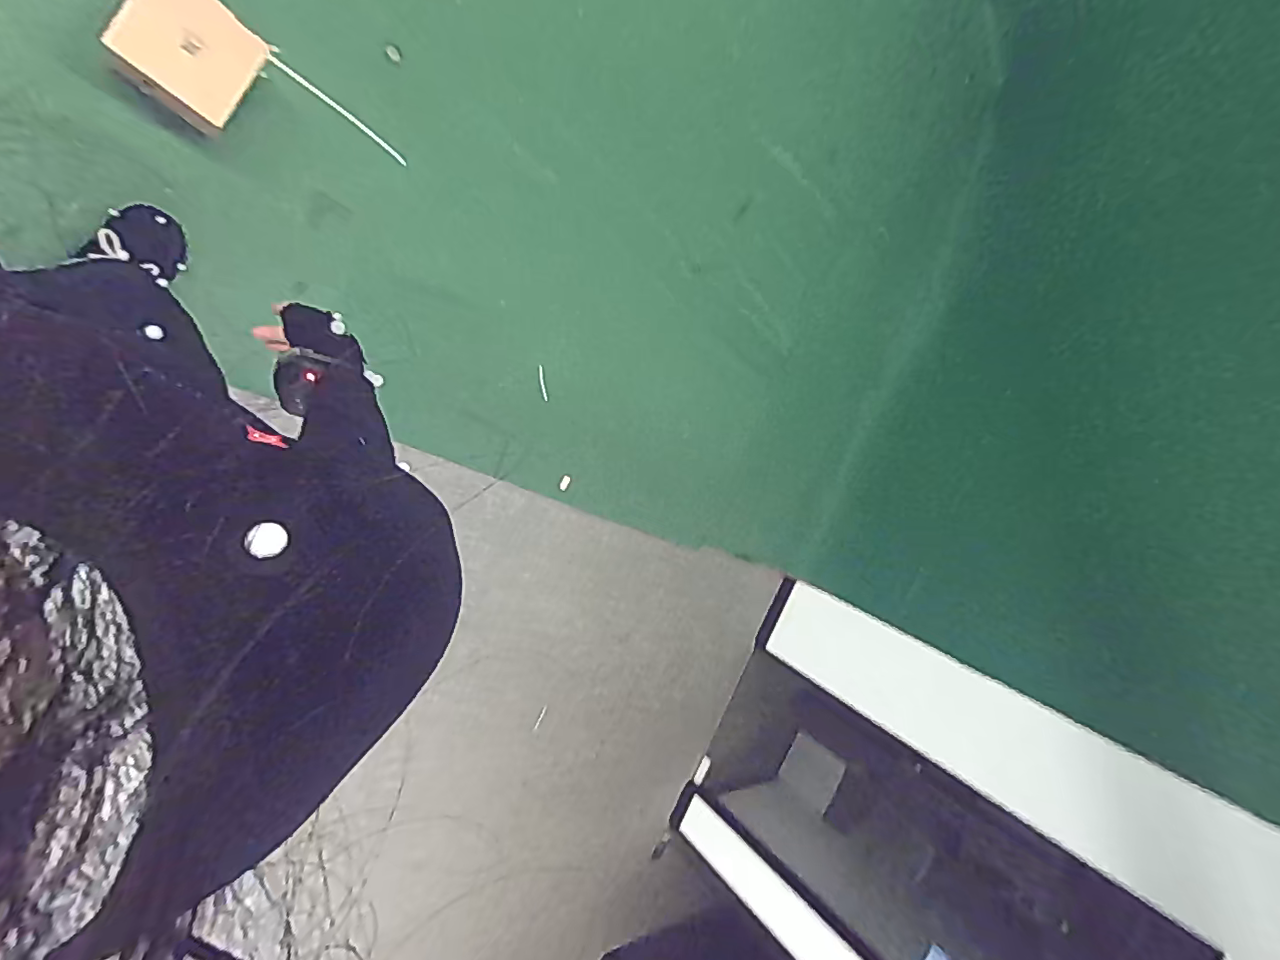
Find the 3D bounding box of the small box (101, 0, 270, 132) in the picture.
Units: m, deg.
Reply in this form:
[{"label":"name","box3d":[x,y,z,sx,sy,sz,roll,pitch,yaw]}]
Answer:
[{"label":"small box","box3d":[-0.794,-0.754,0.953,0.168,0.176,0.179,33,85,-46]}]
